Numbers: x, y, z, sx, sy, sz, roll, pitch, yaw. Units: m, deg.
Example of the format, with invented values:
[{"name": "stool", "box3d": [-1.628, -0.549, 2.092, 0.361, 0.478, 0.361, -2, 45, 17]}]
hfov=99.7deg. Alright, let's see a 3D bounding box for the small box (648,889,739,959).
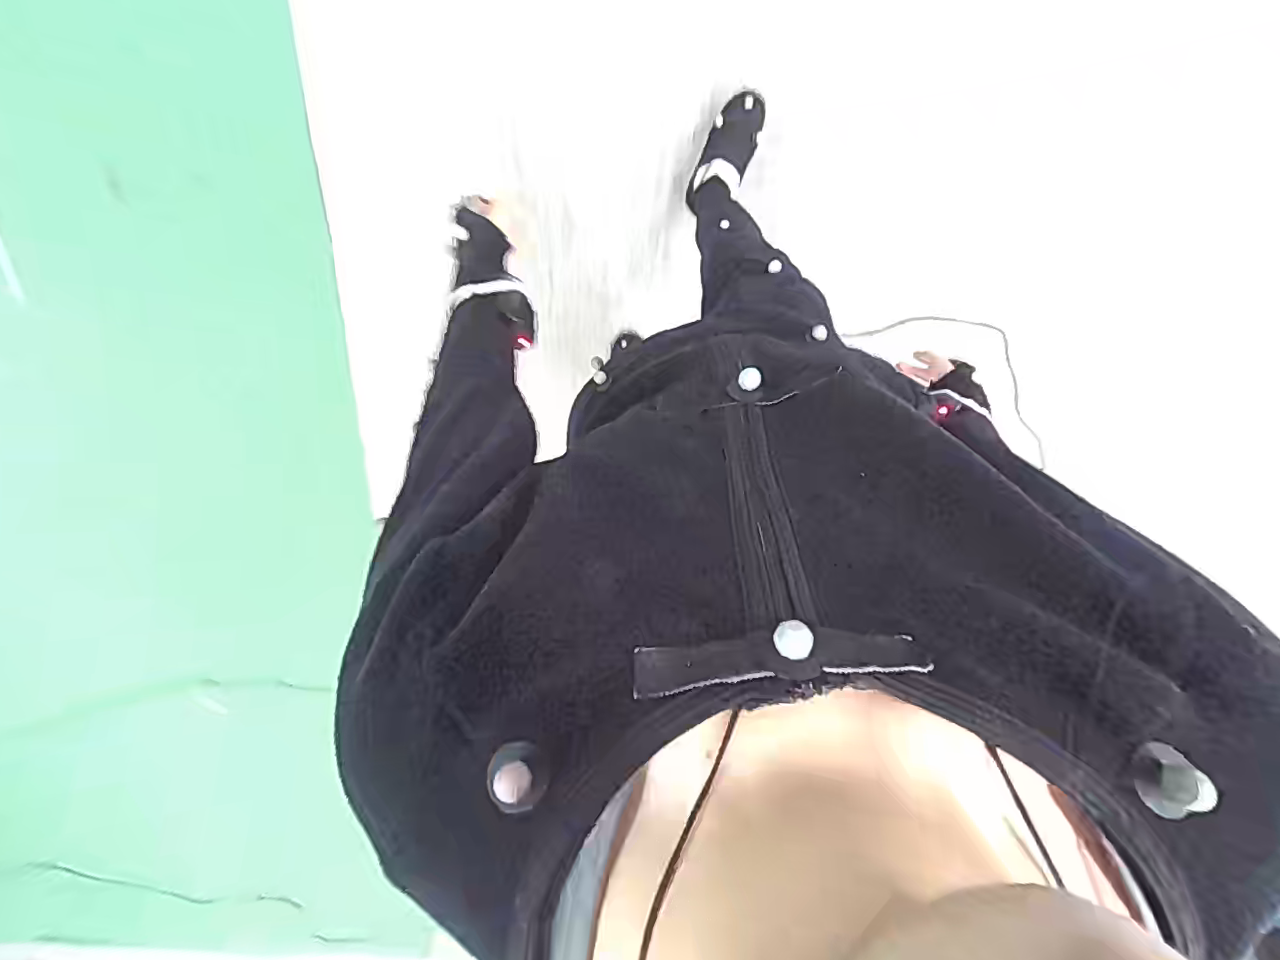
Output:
[{"name": "small box", "box3d": [0.108, 1.011, 1.156, 0.168, 0.176, 0.179, 6, 116, -4]}]
